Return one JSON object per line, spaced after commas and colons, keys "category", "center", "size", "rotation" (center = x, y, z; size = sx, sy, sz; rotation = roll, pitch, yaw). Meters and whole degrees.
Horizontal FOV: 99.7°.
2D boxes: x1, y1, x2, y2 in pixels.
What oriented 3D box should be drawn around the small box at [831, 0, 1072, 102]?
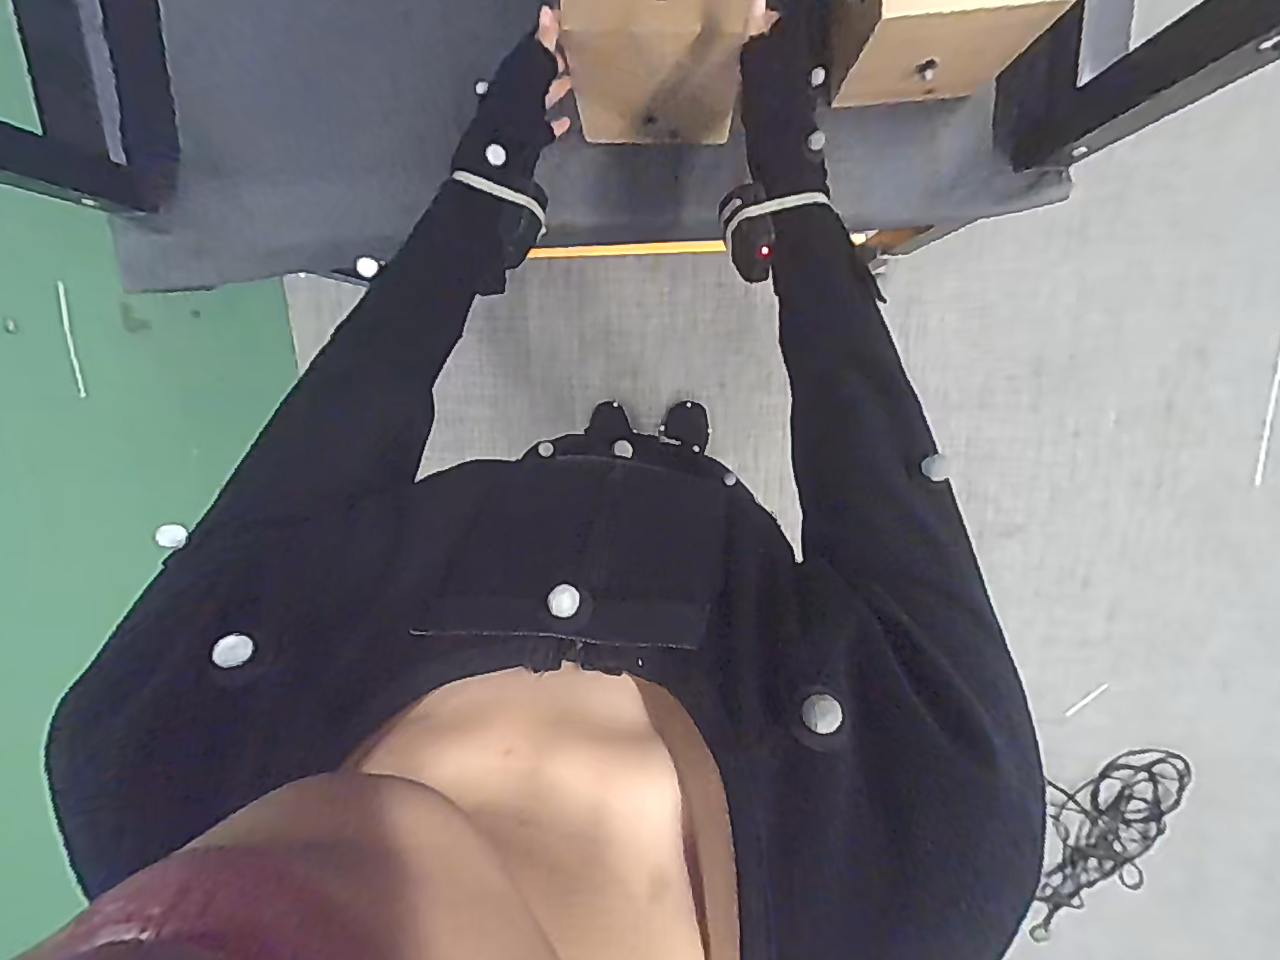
{"category": "small box", "center": [0.297, -0.506, 0.537], "size": [0.168, 0.176, 0.179], "rotation": [-2, 101, 4]}
